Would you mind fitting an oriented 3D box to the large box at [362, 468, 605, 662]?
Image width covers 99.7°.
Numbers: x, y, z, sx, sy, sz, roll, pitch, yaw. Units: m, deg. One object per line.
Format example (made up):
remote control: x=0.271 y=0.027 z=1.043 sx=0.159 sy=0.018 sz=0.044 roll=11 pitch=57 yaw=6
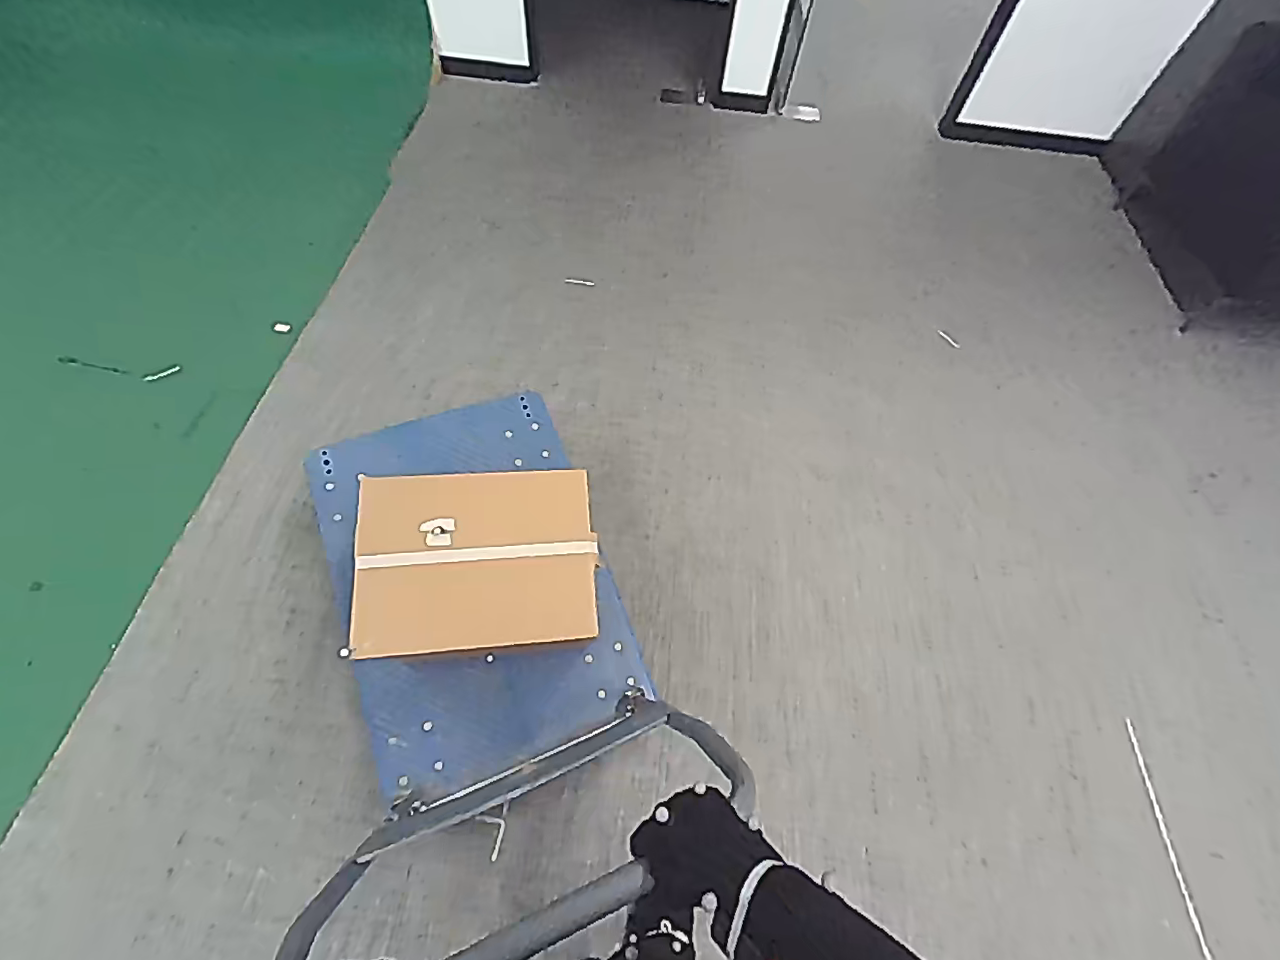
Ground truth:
large box: x=-0.291 y=0.182 z=1.093 sx=0.408 sy=0.320 sz=0.320 roll=-4 pitch=71 yaw=-8
